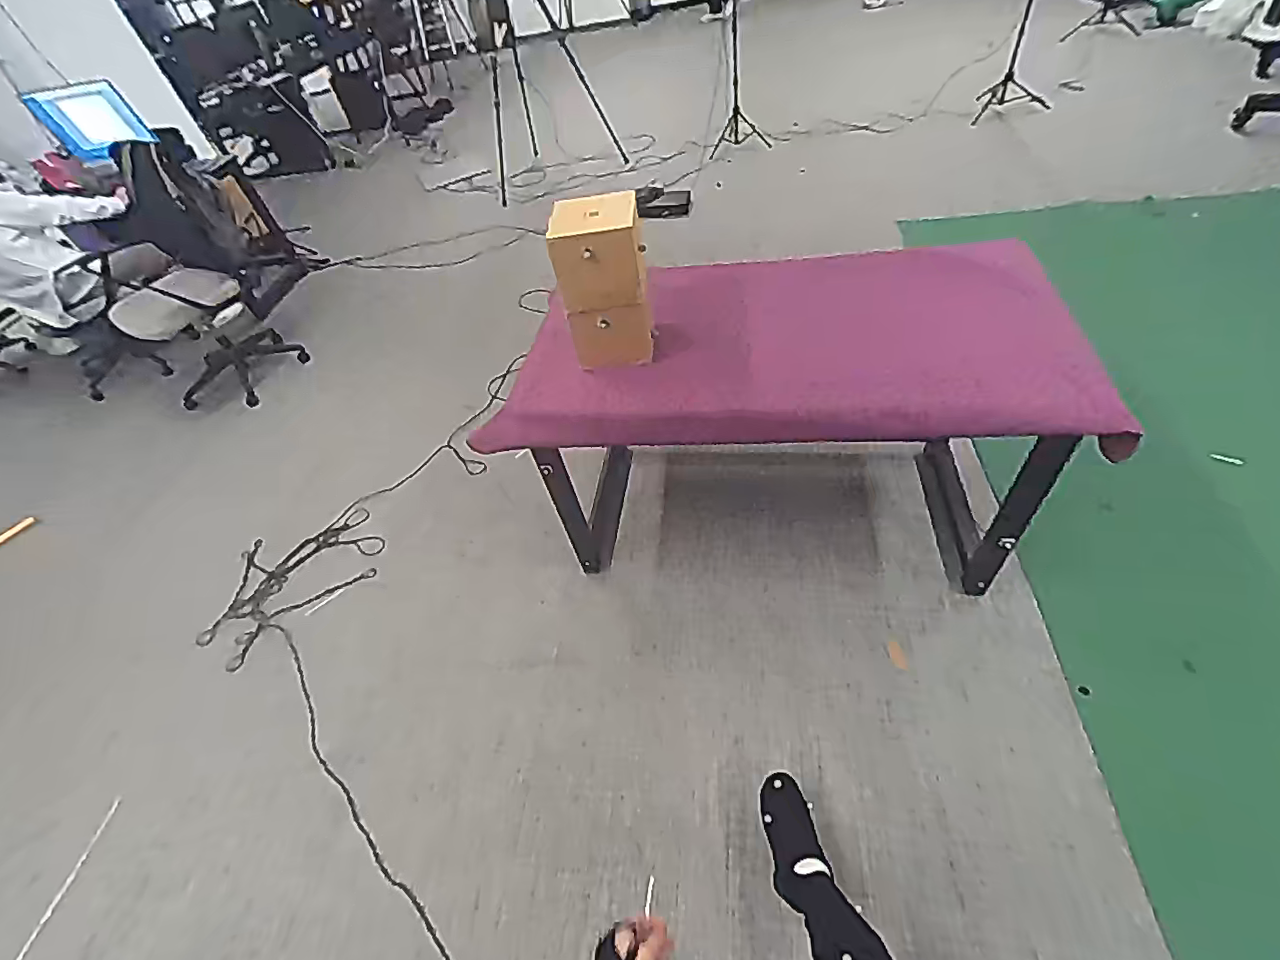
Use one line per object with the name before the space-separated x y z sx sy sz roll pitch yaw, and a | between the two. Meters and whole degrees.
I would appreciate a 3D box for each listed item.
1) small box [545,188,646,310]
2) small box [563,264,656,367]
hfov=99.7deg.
small box | -0.084 -0.482 1.138 0.179 0.176 0.168 -5 50 8
small box | -0.064 -0.381 1.262 0.179 0.176 0.168 -2 50 9
